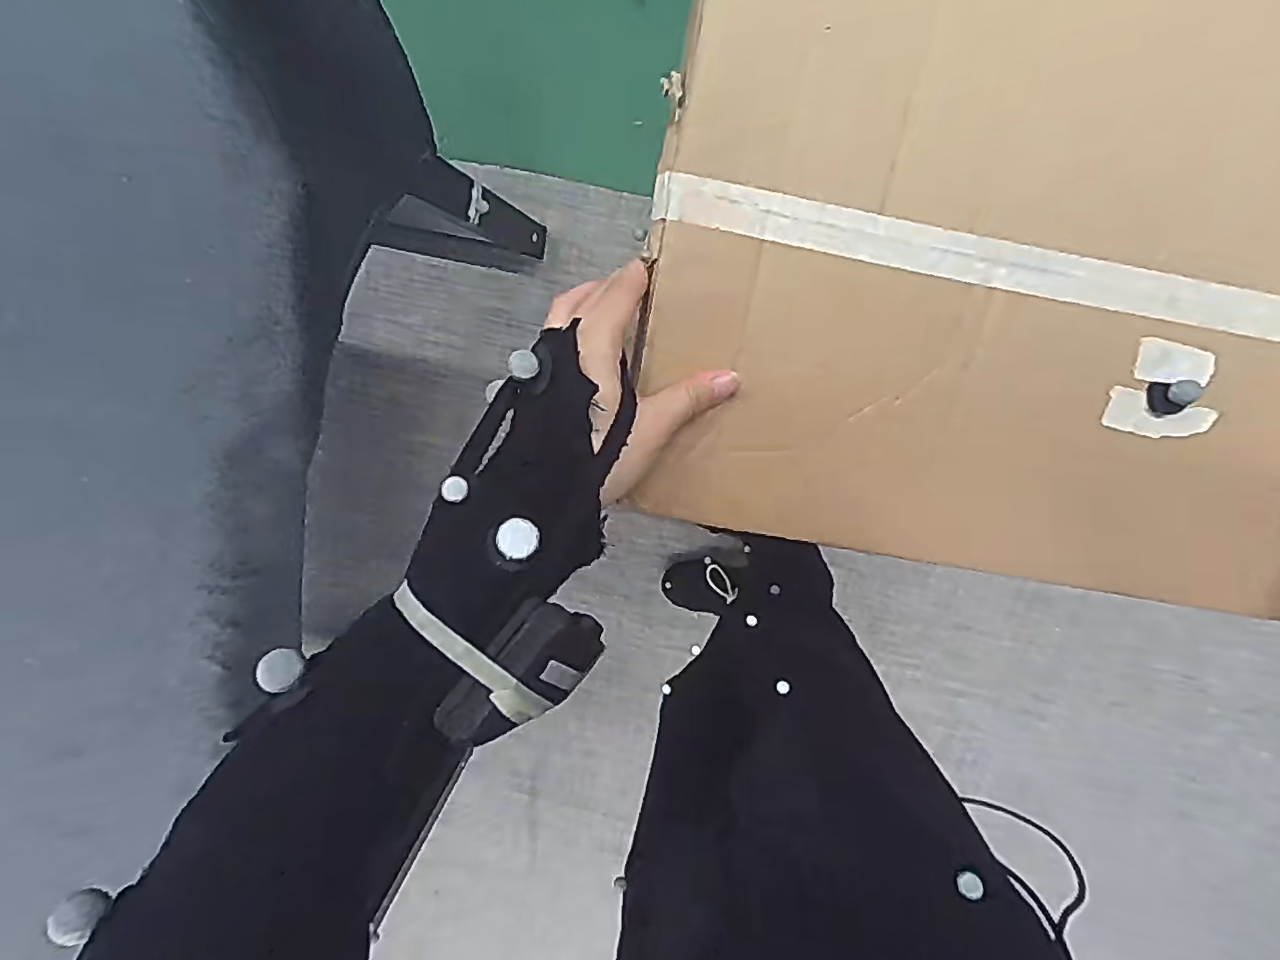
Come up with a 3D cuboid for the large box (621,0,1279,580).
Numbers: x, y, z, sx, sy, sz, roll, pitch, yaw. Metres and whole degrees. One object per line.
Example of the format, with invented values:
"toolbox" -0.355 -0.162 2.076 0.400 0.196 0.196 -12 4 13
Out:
"large box" 0.202 -0.146 0.429 0.408 0.320 0.320 9 104 -4
